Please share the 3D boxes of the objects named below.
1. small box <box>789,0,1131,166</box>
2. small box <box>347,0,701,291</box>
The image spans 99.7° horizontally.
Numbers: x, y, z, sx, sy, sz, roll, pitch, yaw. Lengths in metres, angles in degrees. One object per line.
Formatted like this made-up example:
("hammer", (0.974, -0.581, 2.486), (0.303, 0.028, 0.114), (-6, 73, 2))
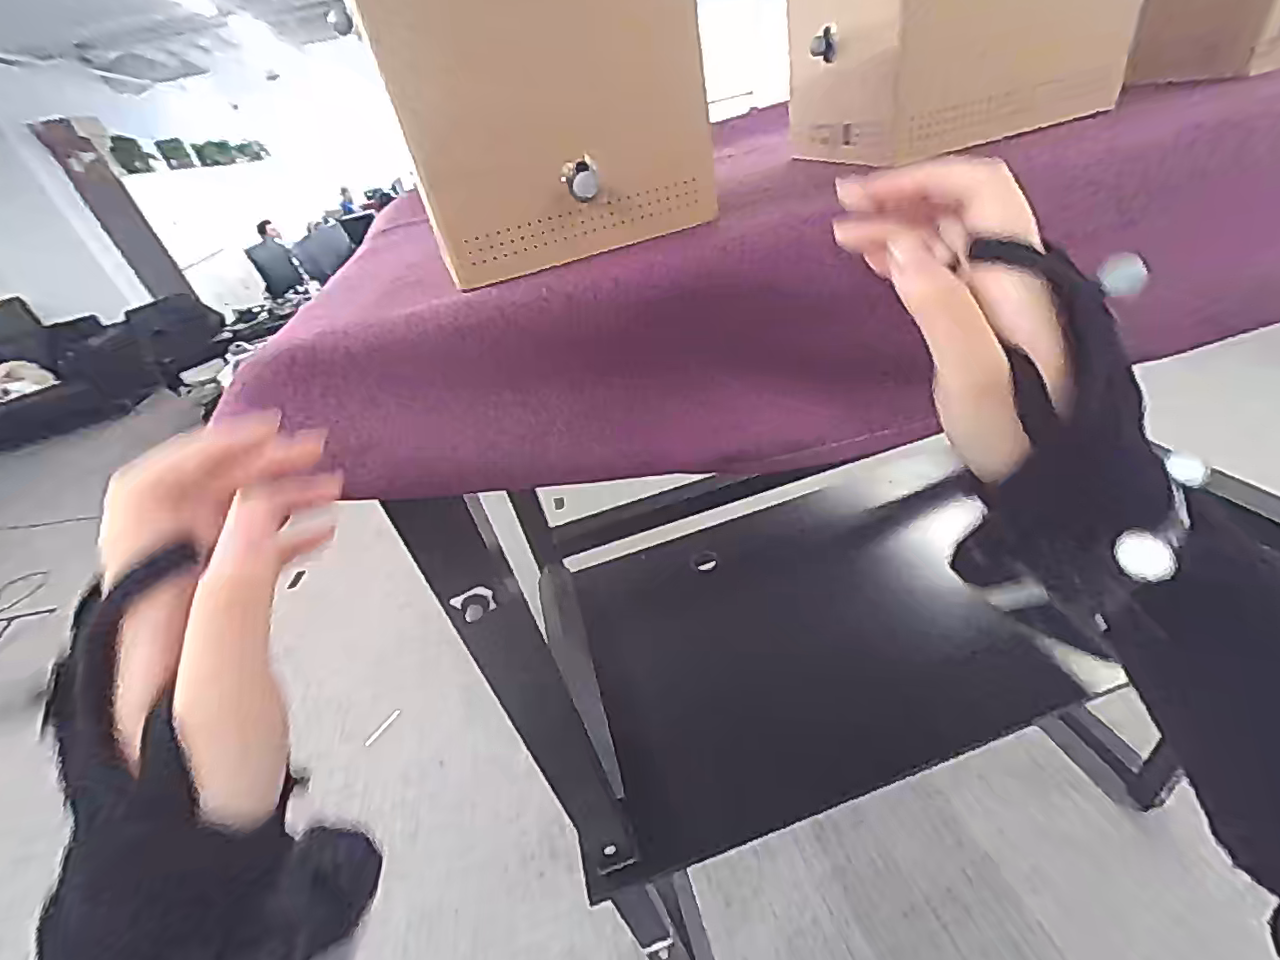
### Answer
("small box", (0.223, -0.345, 0.397), (0.179, 0.176, 0.168), (-16, 35, -3))
("small box", (-0.070, -0.241, 0.352), (0.179, 0.176, 0.168), (-21, 35, -12))
